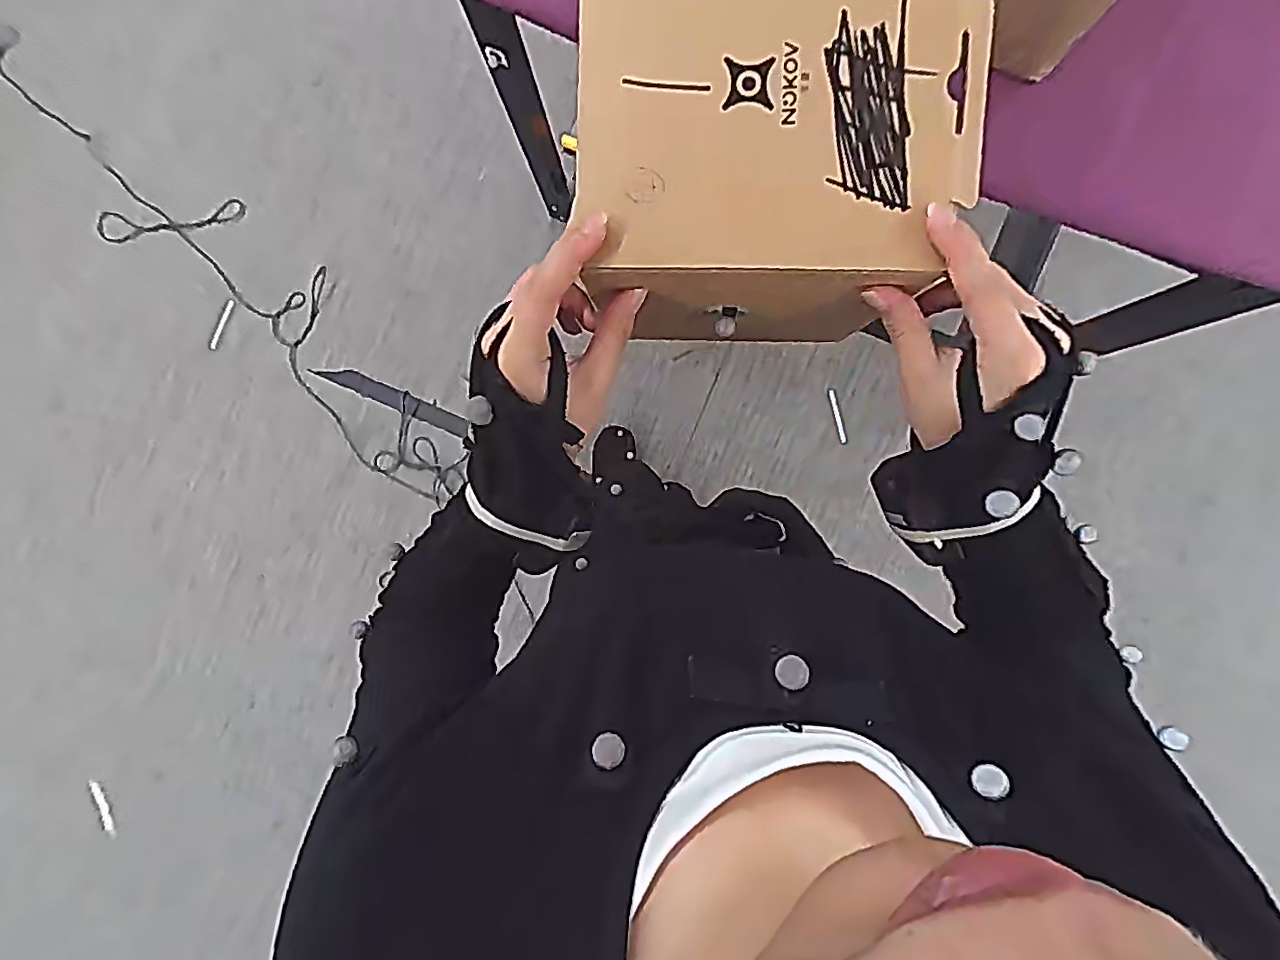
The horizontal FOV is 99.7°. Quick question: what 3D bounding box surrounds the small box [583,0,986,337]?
[{"bbox_3d":[0.066,-0.184,0.319,0.179,0.176,0.168,2,94,3],"label":"small box"}]
